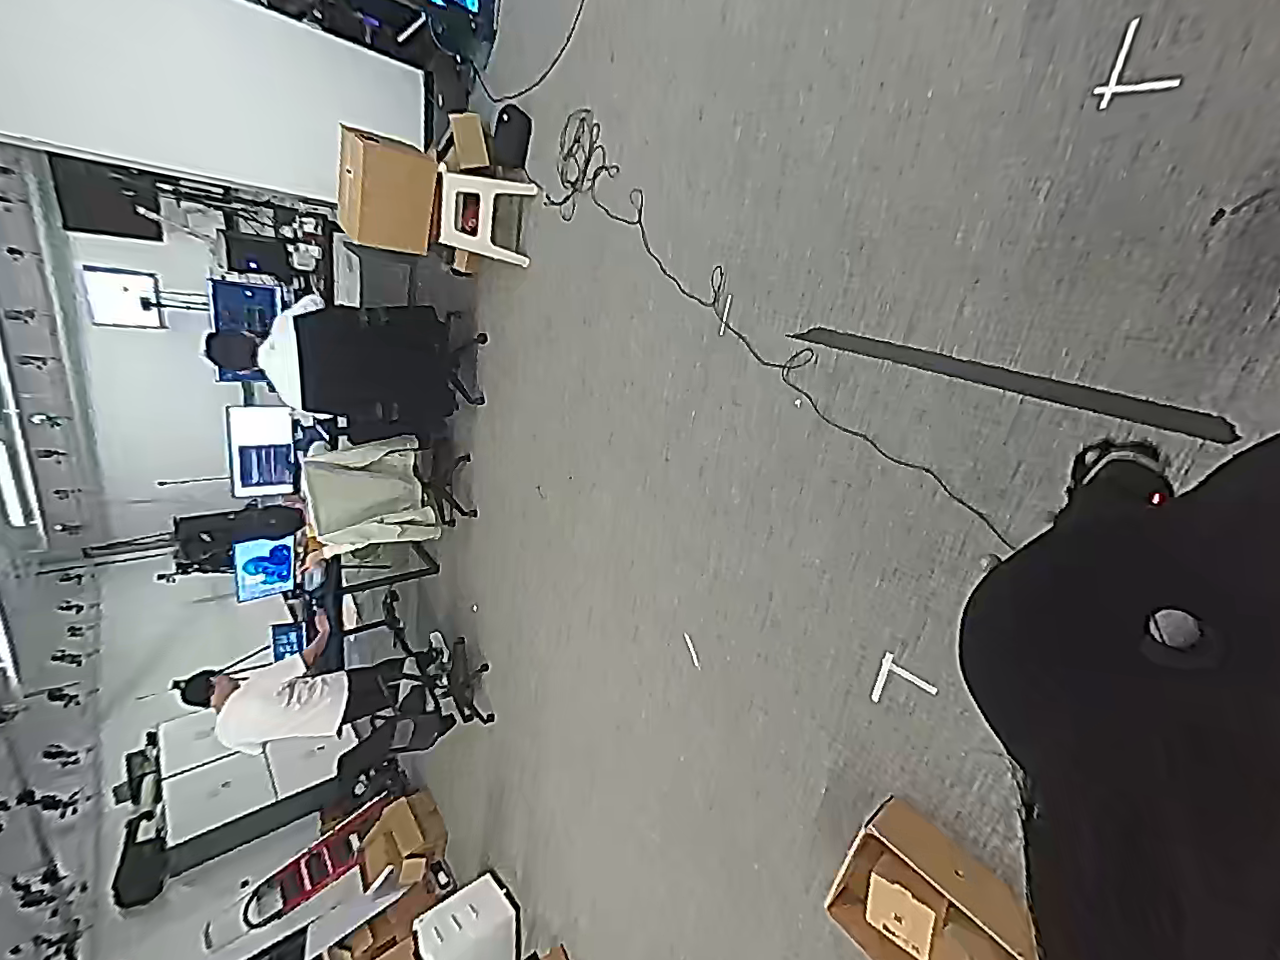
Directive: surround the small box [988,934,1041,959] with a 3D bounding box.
[{"bbox_3d":[0.930,1.288,1.325,0.168,0.176,0.179,29,117,43],"label":"small box"}]
